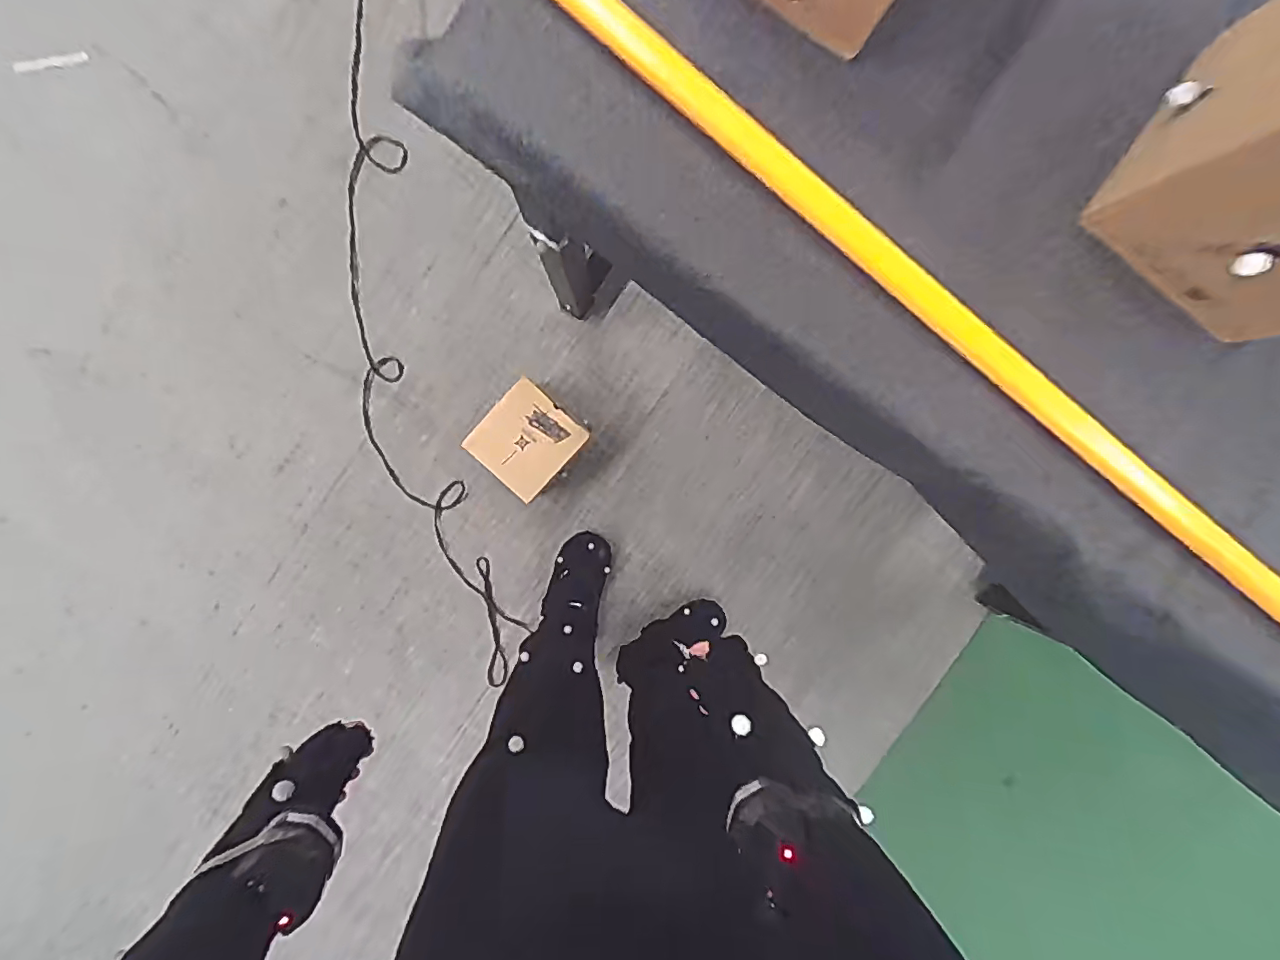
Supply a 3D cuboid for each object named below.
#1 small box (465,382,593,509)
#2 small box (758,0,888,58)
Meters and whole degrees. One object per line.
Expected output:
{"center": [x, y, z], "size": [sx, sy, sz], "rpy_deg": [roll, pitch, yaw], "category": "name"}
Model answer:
{"center": [-0.209, -0.068, 1.065], "size": [0.168, 0.176, 0.179], "rpy_deg": [42, 92, -4], "category": "small box"}
{"center": [0.134, -0.422, 0.327], "size": [0.168, 0.176, 0.179], "rpy_deg": [30, 90, -6], "category": "small box"}
